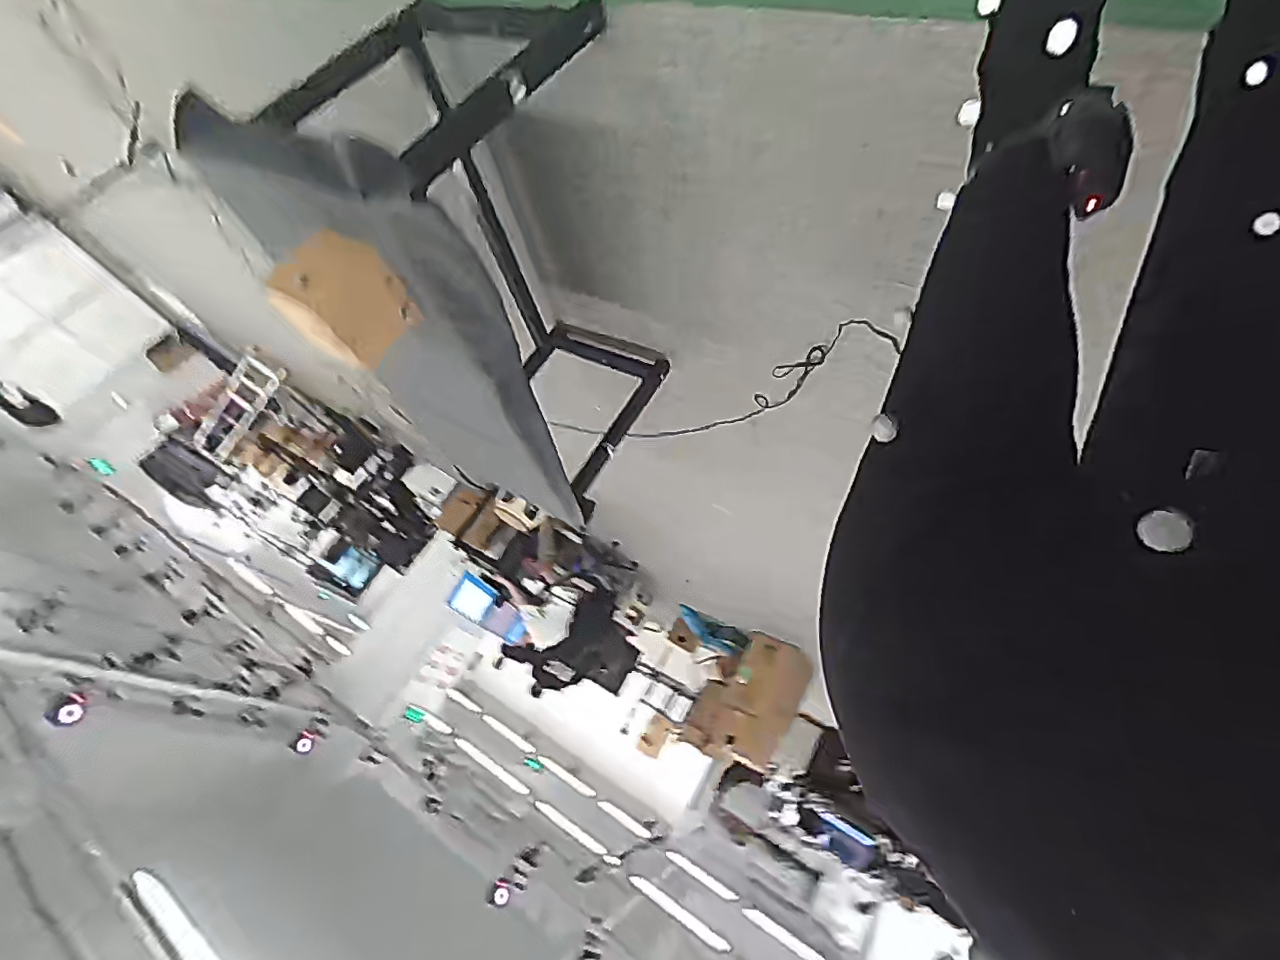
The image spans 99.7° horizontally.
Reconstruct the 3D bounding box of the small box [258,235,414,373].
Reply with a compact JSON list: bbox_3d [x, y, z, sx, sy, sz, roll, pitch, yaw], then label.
[{"bbox_3d":[-0.569,-0.343,1.045,0.179,0.176,0.168,26,158,23],"label":"small box"}]
